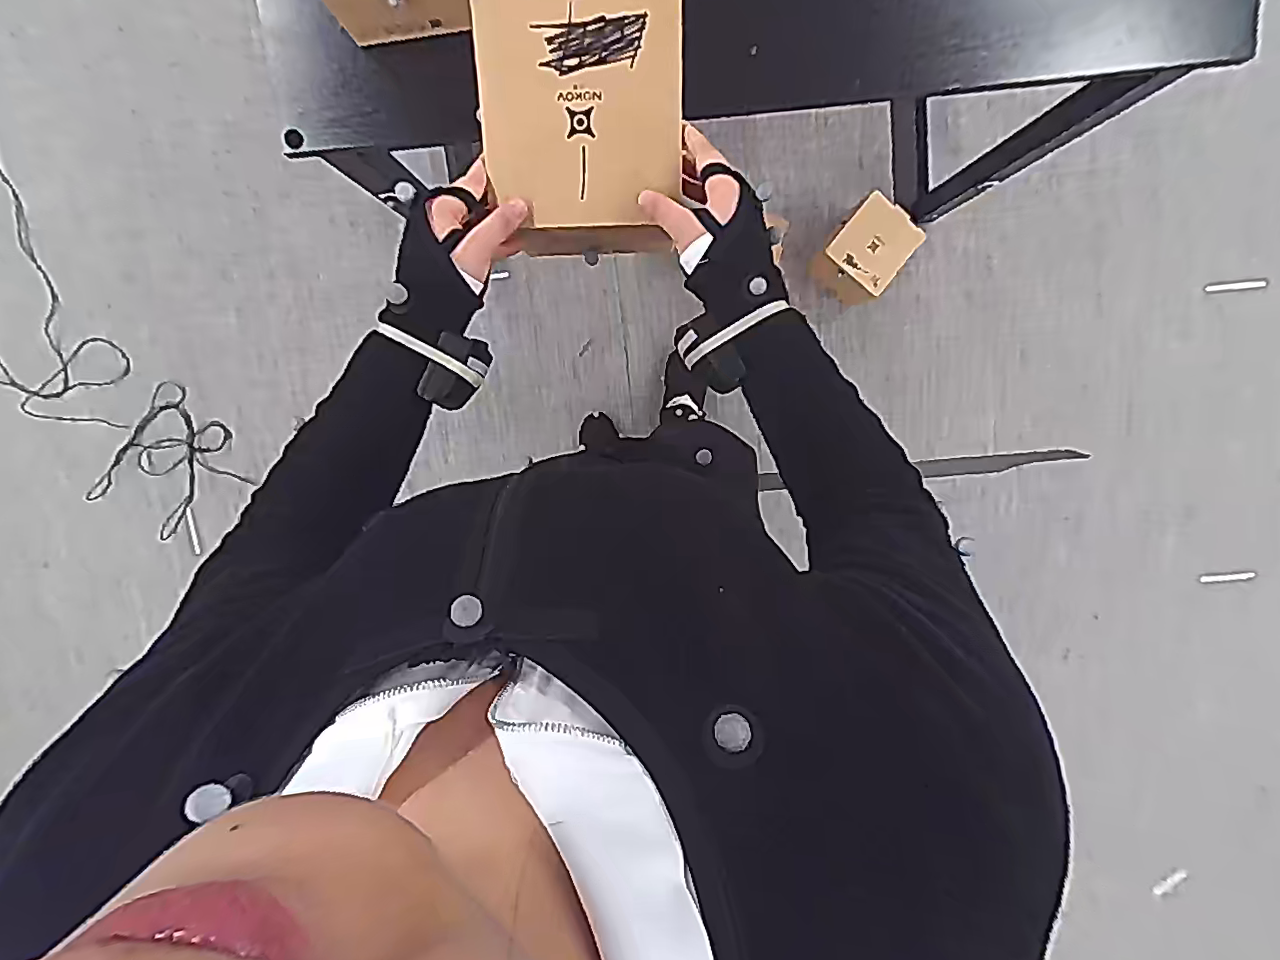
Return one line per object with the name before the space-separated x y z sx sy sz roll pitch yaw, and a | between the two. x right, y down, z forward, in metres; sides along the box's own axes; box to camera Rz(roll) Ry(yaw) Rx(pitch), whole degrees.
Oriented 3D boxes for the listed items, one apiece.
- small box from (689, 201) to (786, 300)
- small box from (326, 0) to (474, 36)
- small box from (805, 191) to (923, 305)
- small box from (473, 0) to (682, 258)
small box | 0.230 -0.549 1.321 0.179 0.176 0.168 16 99 -2
small box | -0.276 -0.611 0.567 0.168 0.176 0.179 -8 99 1
small box | 0.533 -0.554 1.318 0.168 0.176 0.179 38 98 -6
small box | -0.049 -0.318 0.516 0.168 0.176 0.179 -1 106 0
